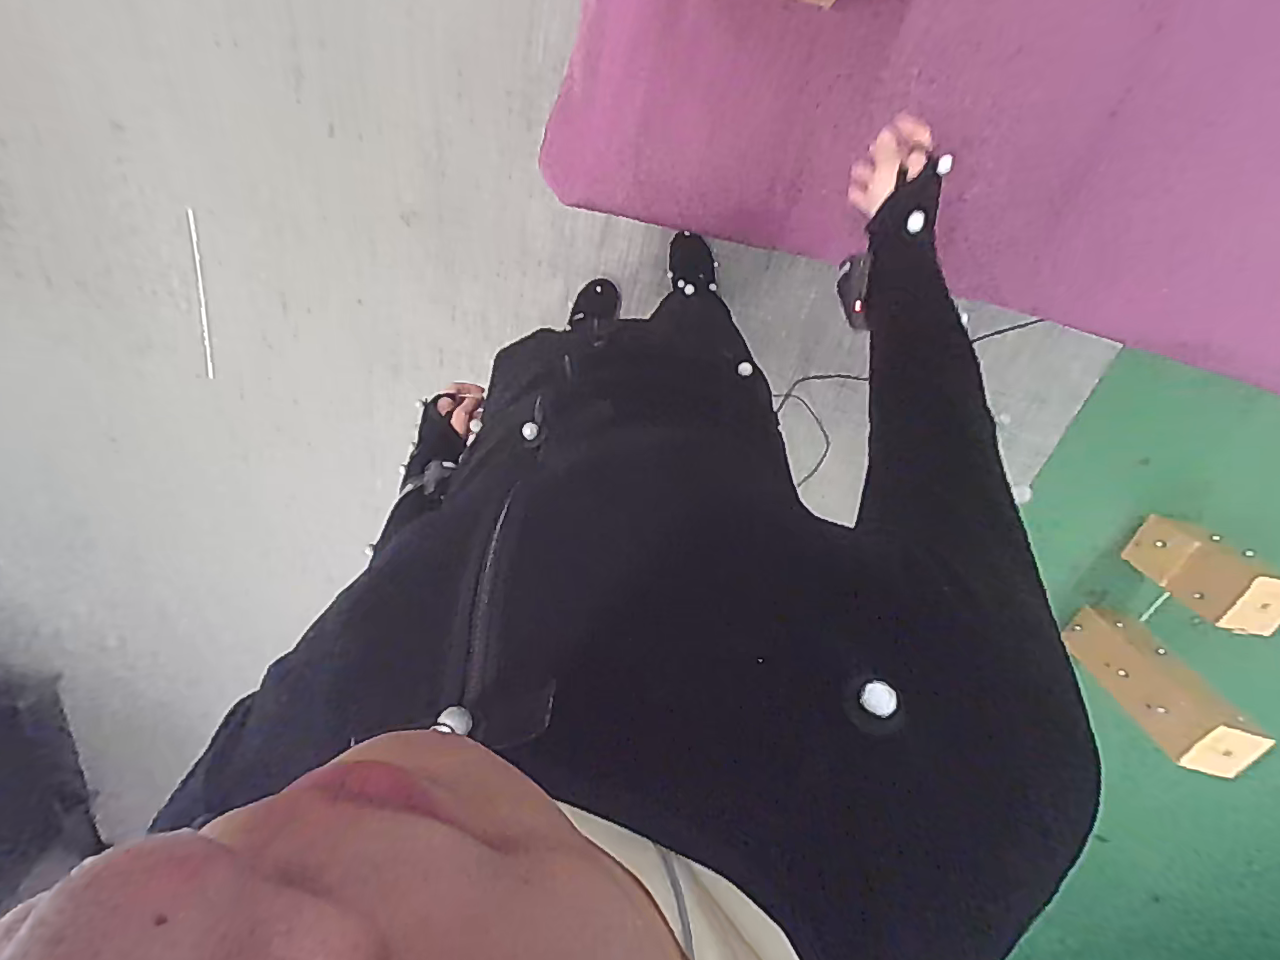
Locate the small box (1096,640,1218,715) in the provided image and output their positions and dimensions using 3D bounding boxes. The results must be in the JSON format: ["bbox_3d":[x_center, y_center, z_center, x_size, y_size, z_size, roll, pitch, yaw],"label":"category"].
[{"bbox_3d":[1.589,0.624,1.678,0.179,0.176,0.168,15,117,-3],"label":"small box"}]

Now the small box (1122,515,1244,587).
[{"bbox_3d":[1.659,0.225,1.663,0.179,0.176,0.168,12,116,-4],"label":"small box"}]

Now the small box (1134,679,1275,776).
[{"bbox_3d":[1.583,0.695,1.529,0.179,0.176,0.168,16,116,-4],"label":"small box"}]

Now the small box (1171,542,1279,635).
[{"bbox_3d":[1.668,0.301,1.519,0.168,0.176,0.179,11,116,-4],"label":"small box"}]
